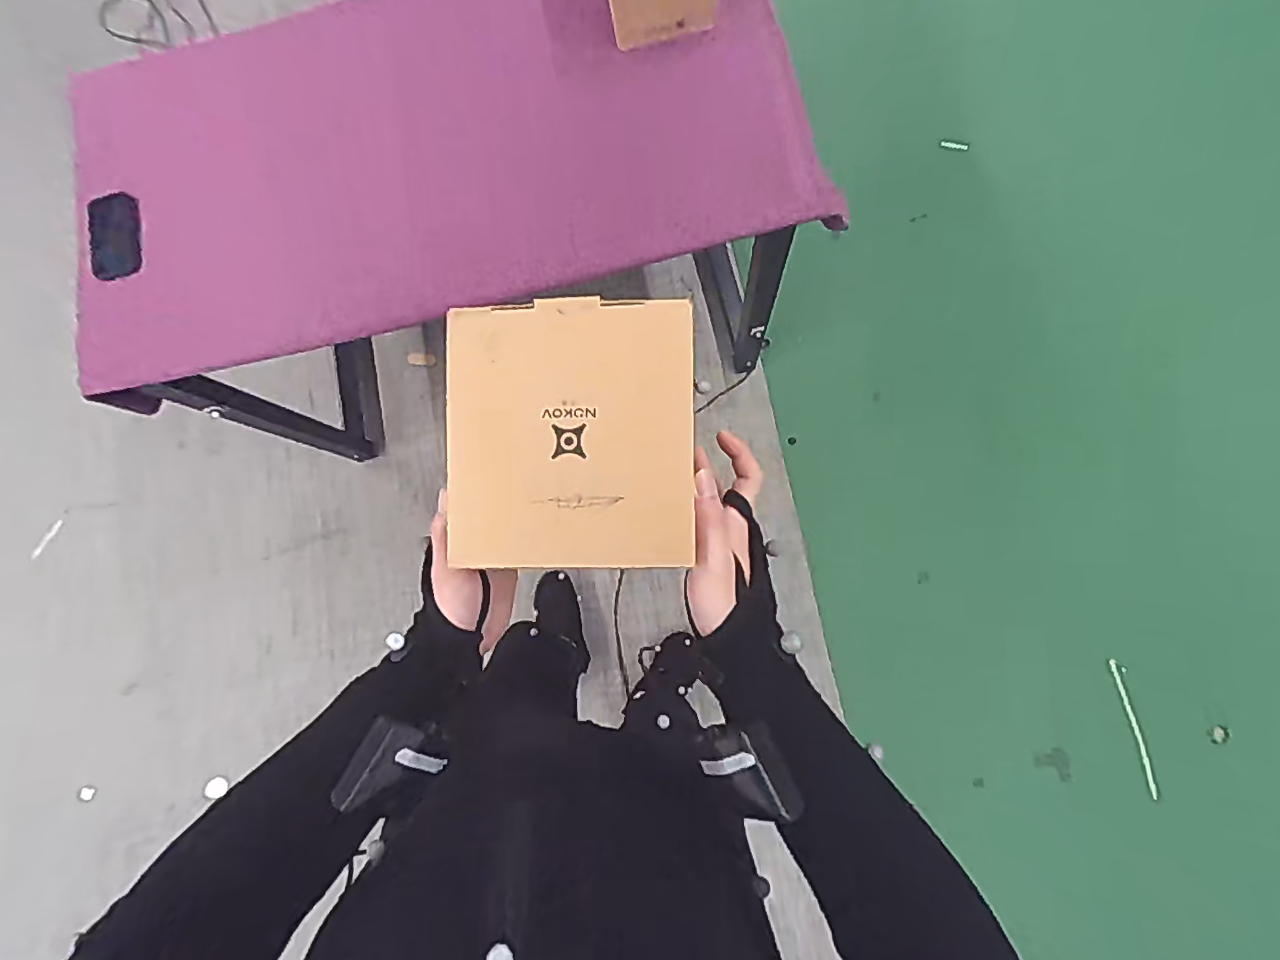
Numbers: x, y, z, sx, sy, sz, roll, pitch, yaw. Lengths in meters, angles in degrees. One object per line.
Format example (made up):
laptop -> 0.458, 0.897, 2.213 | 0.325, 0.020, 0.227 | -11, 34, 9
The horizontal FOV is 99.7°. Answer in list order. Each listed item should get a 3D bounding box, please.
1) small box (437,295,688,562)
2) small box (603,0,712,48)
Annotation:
small box -> -0.046, -0.032, 0.434 | 0.168, 0.176, 0.179 | -1, 89, 6
small box -> 0.013, -0.809, 0.810 | 0.168, 0.176, 0.179 | -11, 79, 5
